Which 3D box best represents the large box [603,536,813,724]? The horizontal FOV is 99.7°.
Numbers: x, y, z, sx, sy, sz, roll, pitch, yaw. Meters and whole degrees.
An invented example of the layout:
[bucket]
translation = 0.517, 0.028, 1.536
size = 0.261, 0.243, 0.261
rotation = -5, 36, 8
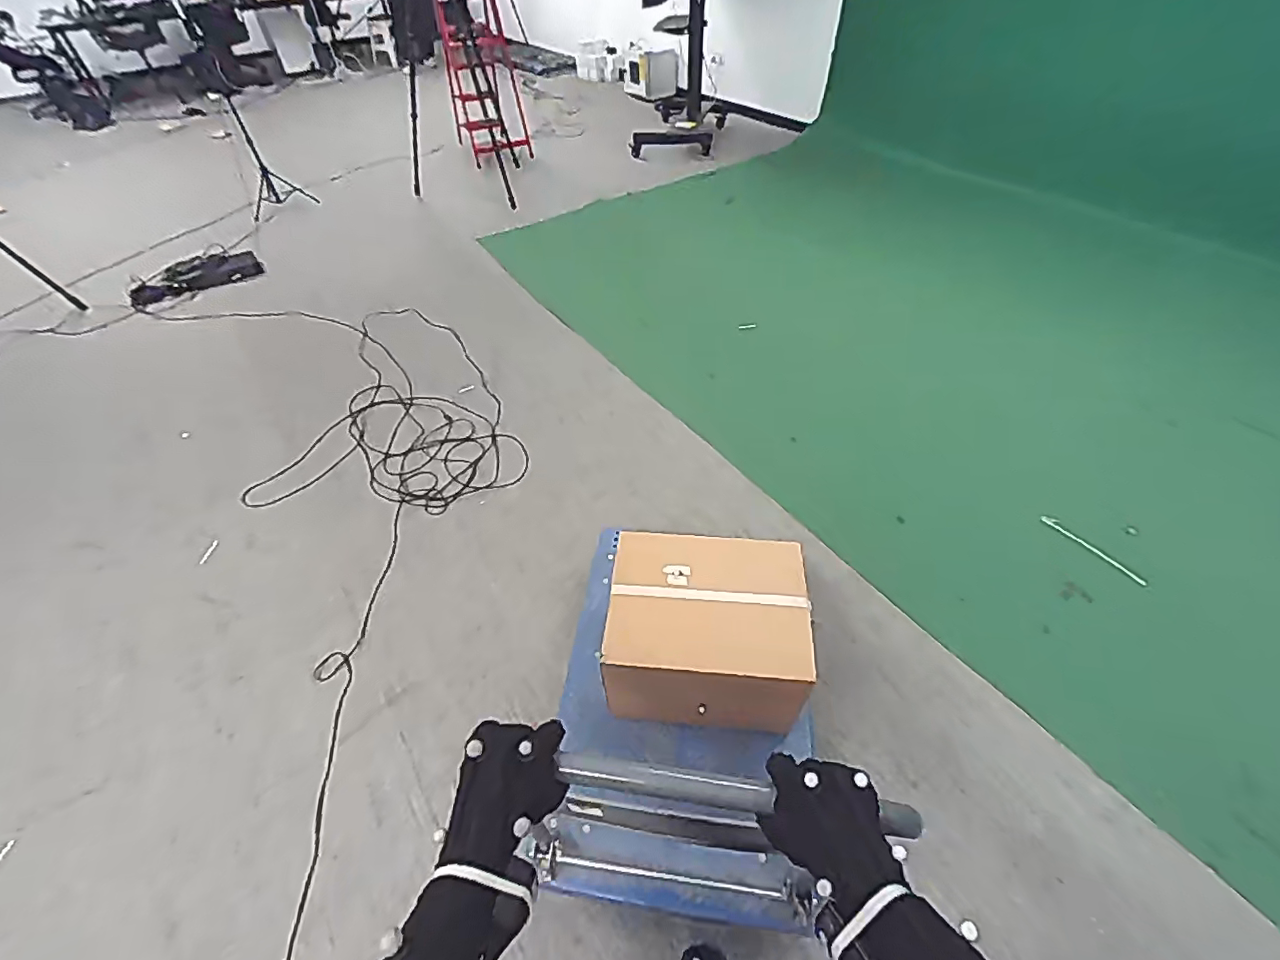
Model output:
[large box]
translation = 0.146, 0.344, 1.232
size = 0.408, 0.320, 0.320
rotation = 2, 48, 6
